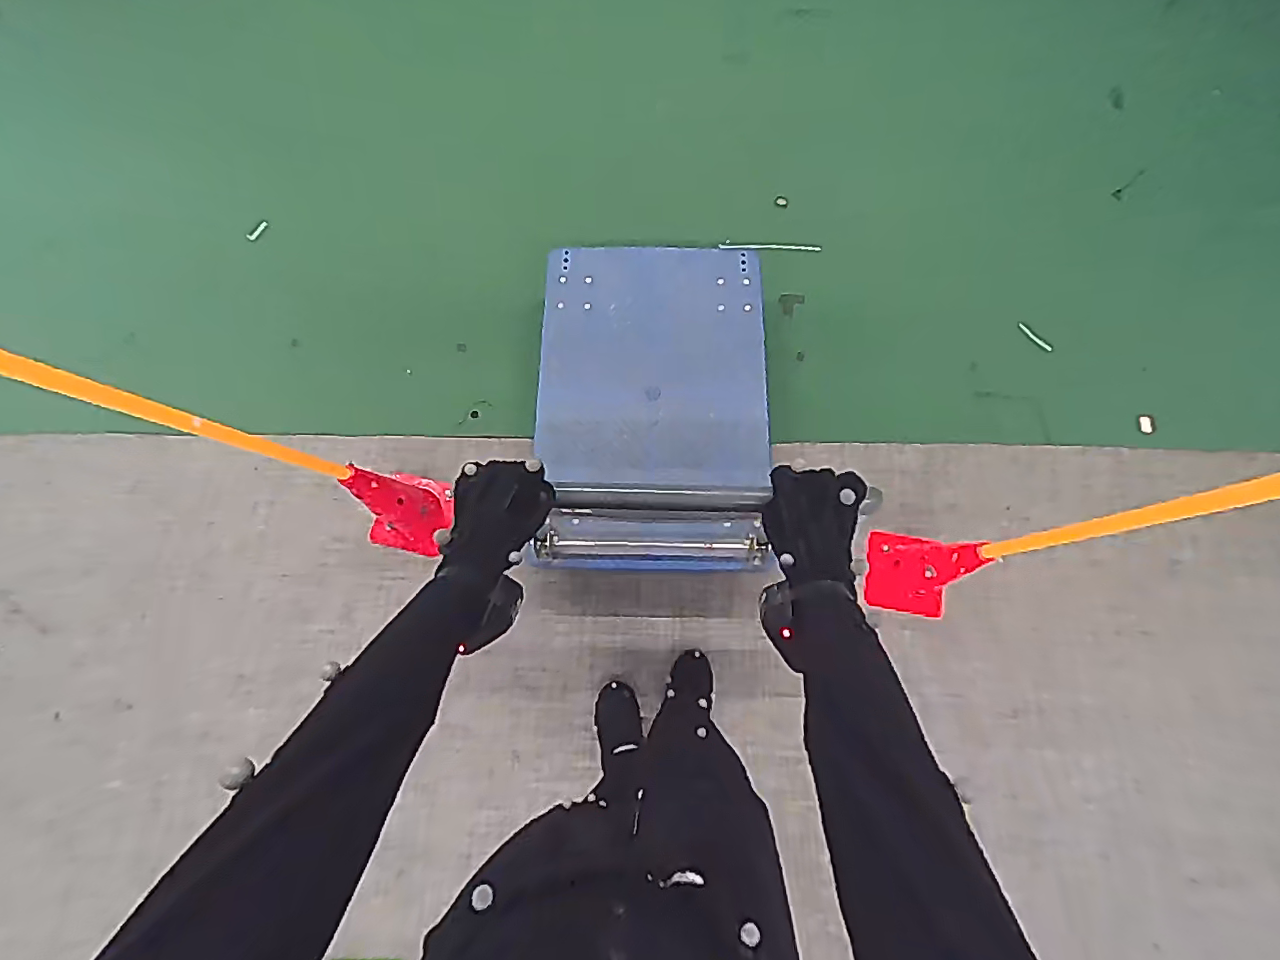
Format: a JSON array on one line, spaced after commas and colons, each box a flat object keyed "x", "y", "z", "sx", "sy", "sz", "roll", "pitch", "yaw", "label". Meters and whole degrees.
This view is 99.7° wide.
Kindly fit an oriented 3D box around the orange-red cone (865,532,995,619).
[{"x": 0.678, "y": 0.193, "z": 1.217, "sx": 0.198, "sy": 0.360, "sz": 0.199, "roll": 11, "pitch": 75, "yaw": 5, "label": "orange-red cone"}]
